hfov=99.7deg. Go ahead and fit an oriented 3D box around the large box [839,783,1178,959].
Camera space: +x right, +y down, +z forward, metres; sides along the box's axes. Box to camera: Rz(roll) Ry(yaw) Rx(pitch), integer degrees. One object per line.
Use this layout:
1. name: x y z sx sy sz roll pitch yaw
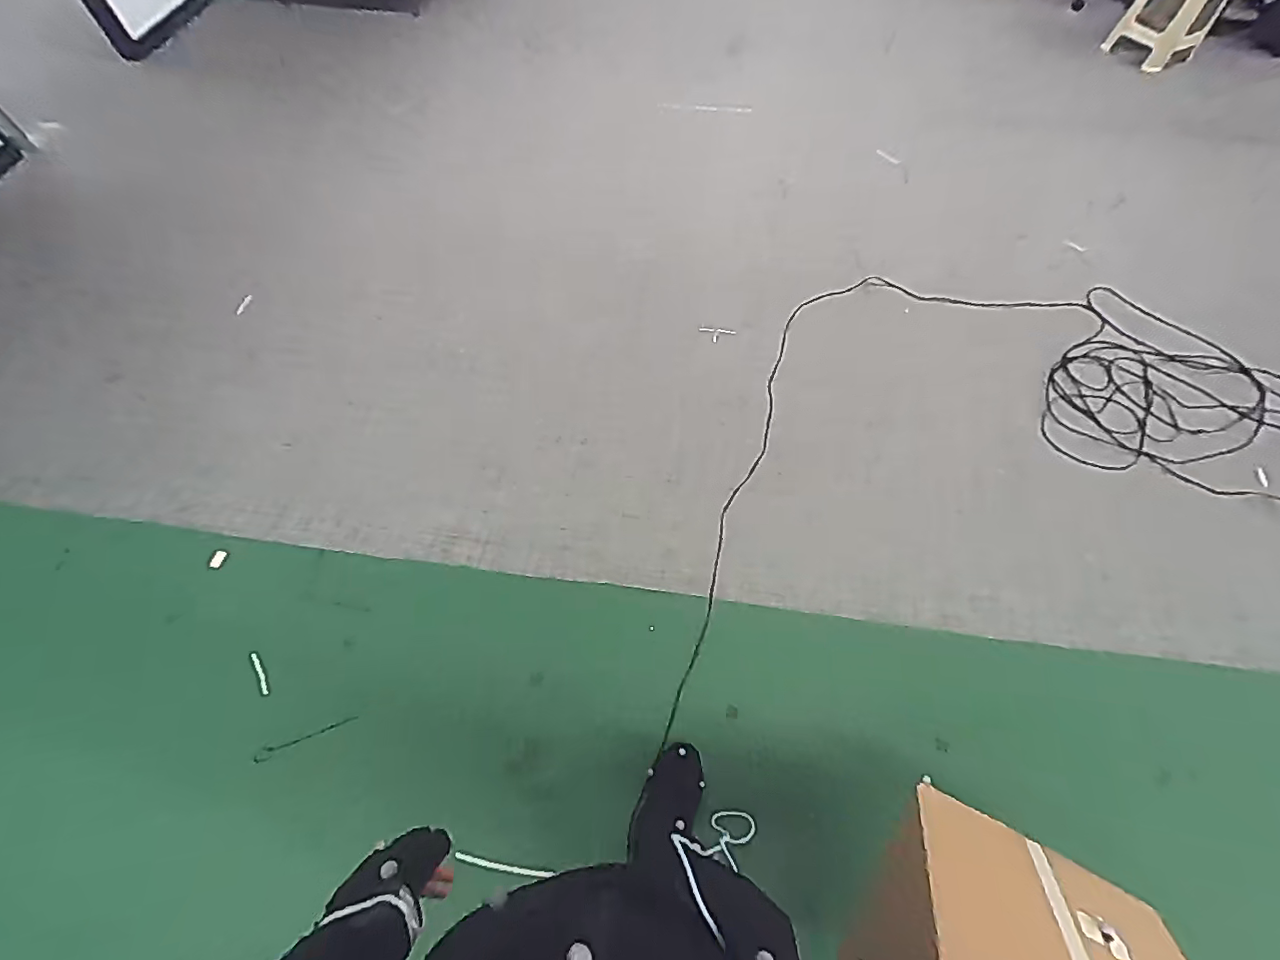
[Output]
1. large box: 0.435 0.673 0.633 0.320 0.408 0.320 24 101 20
